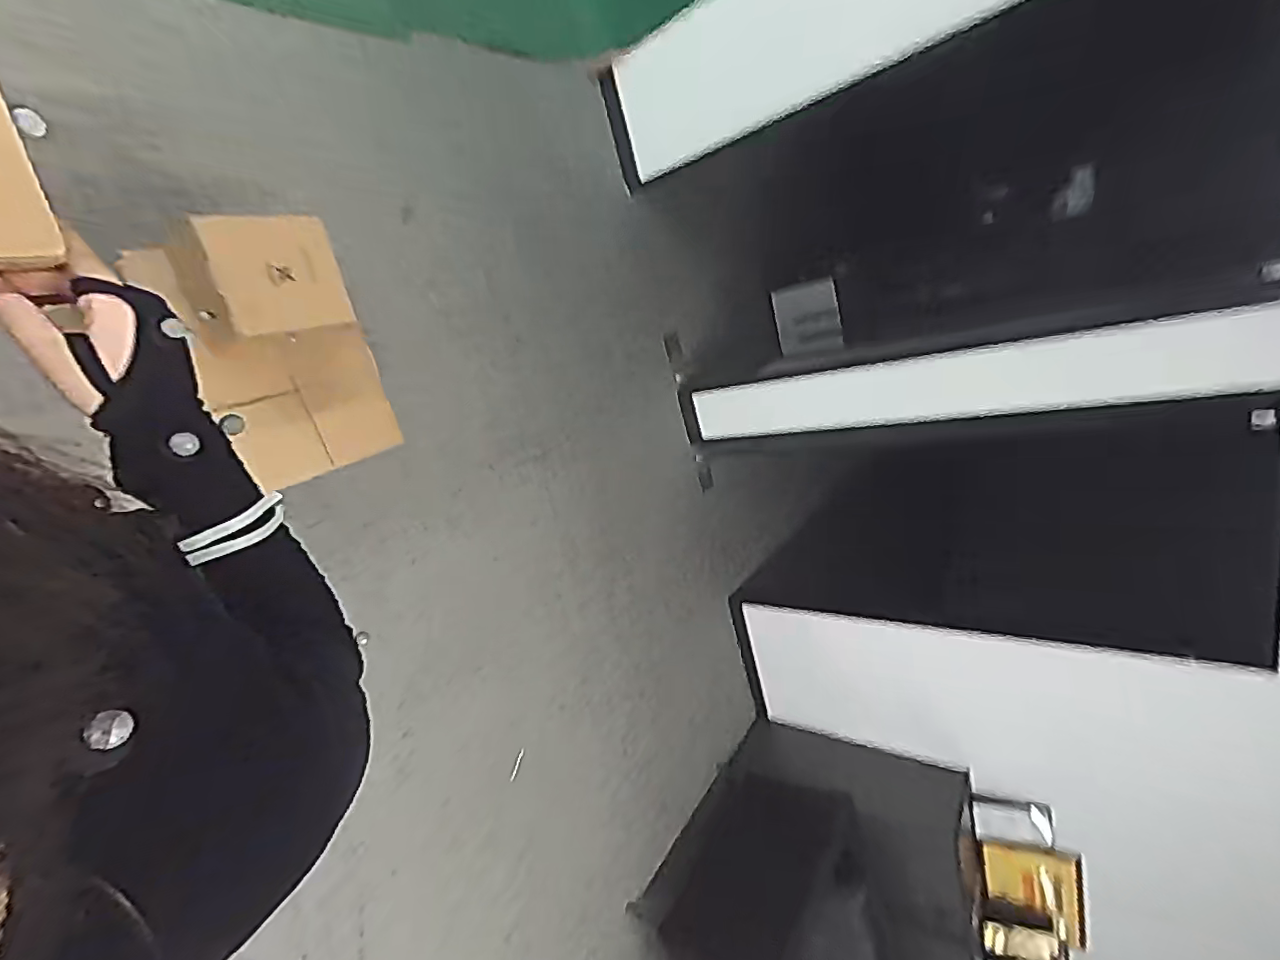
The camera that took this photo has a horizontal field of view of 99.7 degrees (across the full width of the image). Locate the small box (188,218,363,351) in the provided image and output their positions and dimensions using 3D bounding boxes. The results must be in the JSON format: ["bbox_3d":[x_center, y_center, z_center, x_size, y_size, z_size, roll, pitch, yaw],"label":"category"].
[{"bbox_3d":[-0.593,-0.313,0.876,0.179,0.176,0.168,-30,113,-46],"label":"small box"}]
